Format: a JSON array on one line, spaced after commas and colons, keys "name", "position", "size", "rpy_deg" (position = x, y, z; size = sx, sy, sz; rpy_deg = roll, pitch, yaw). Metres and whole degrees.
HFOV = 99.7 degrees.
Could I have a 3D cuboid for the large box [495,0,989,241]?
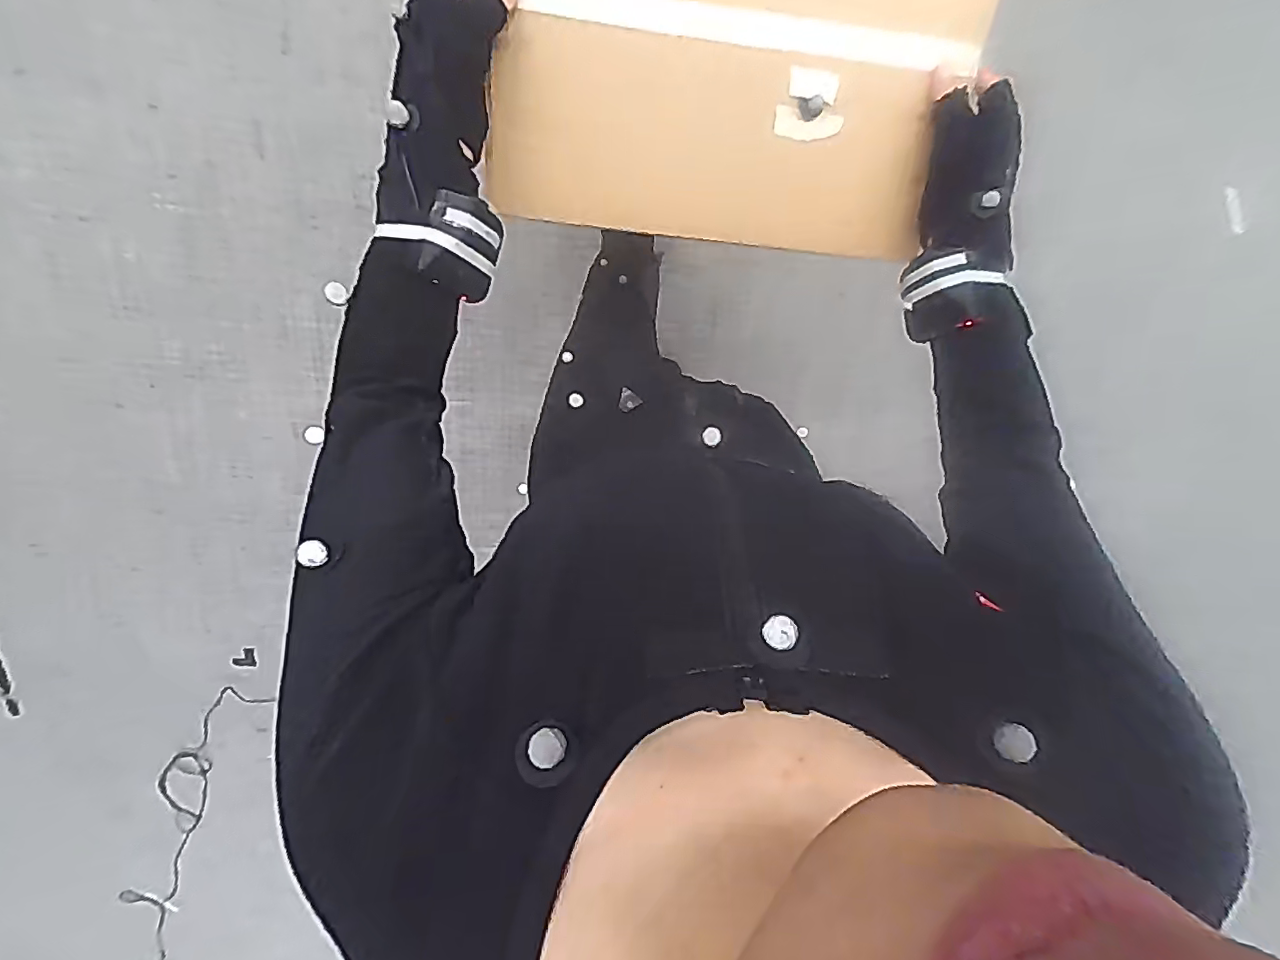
[{"name": "large box", "position": [0.071, -0.444, 0.565], "size": [0.408, 0.320, 0.320], "rpy_deg": [3, 118, -7]}]
